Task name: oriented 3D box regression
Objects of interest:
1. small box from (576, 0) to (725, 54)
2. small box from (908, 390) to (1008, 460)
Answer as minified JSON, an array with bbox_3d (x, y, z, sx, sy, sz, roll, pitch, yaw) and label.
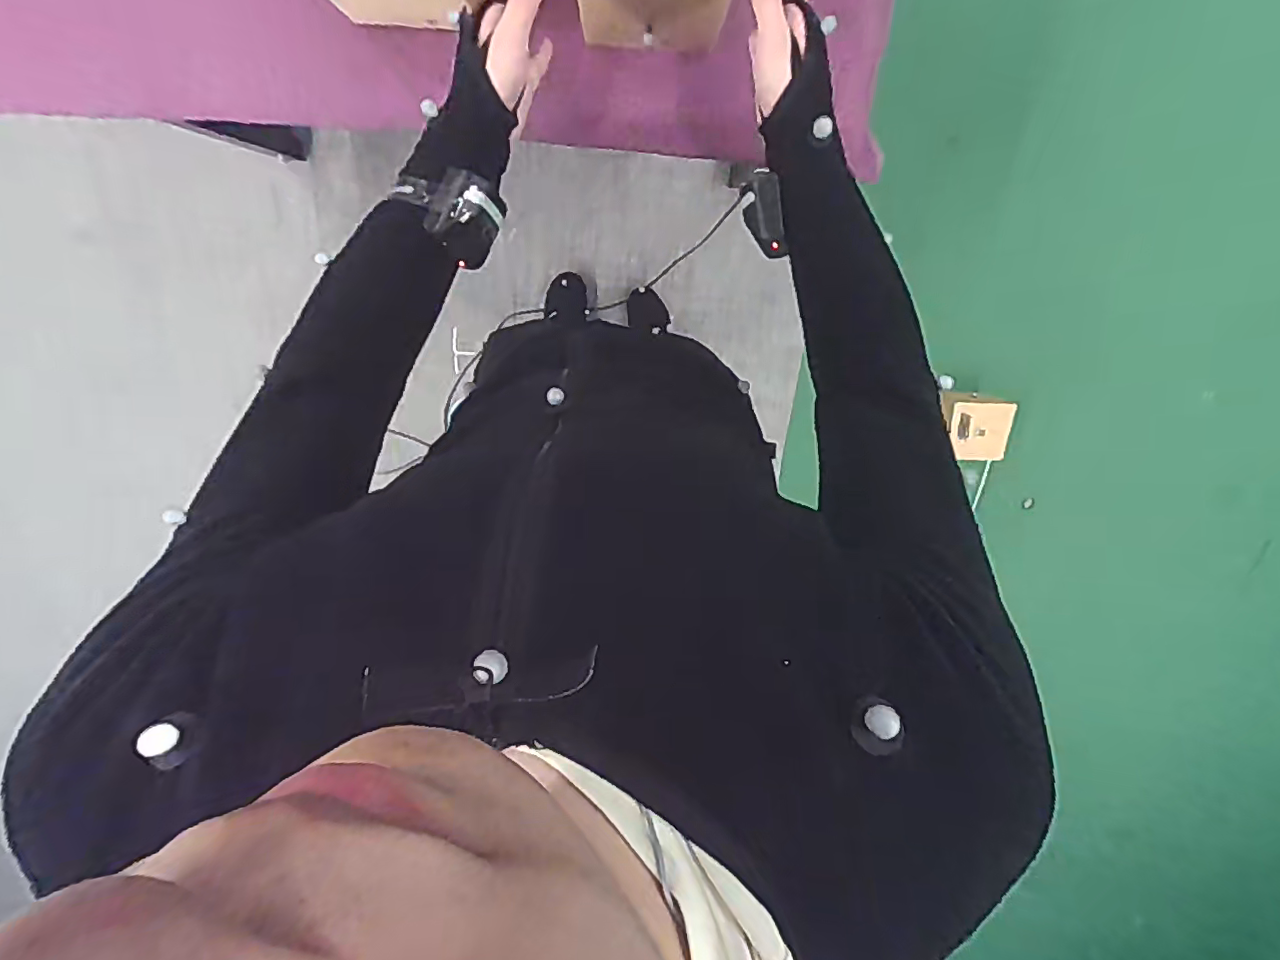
[{"bbox_3d":[0.012,-0.609,0.590,0.168,0.176,0.179,3,110,-2],"label":"small box"},{"bbox_3d":[0.916,-0.164,1.576,0.179,0.176,0.168,1,111,-3],"label":"small box"}]
